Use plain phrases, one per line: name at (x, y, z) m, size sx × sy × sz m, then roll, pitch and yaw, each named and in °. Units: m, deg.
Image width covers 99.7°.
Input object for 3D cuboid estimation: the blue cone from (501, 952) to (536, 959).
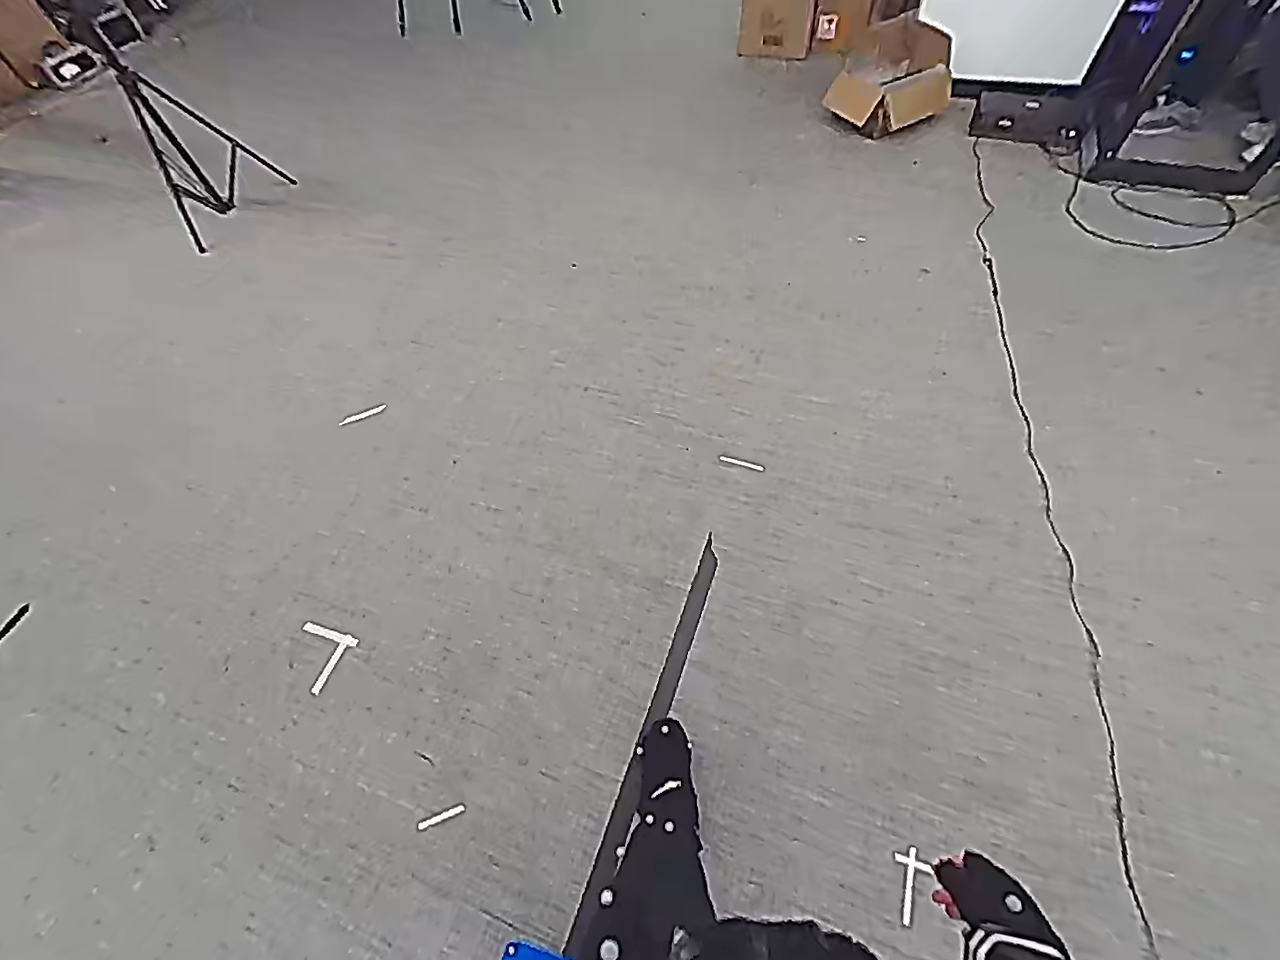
blue cone at (-0.225, 0.955, 0.897) m, size 0.192 × 0.380 × 0.193 m, roll 12°, pitch 58°, yaw 13°
